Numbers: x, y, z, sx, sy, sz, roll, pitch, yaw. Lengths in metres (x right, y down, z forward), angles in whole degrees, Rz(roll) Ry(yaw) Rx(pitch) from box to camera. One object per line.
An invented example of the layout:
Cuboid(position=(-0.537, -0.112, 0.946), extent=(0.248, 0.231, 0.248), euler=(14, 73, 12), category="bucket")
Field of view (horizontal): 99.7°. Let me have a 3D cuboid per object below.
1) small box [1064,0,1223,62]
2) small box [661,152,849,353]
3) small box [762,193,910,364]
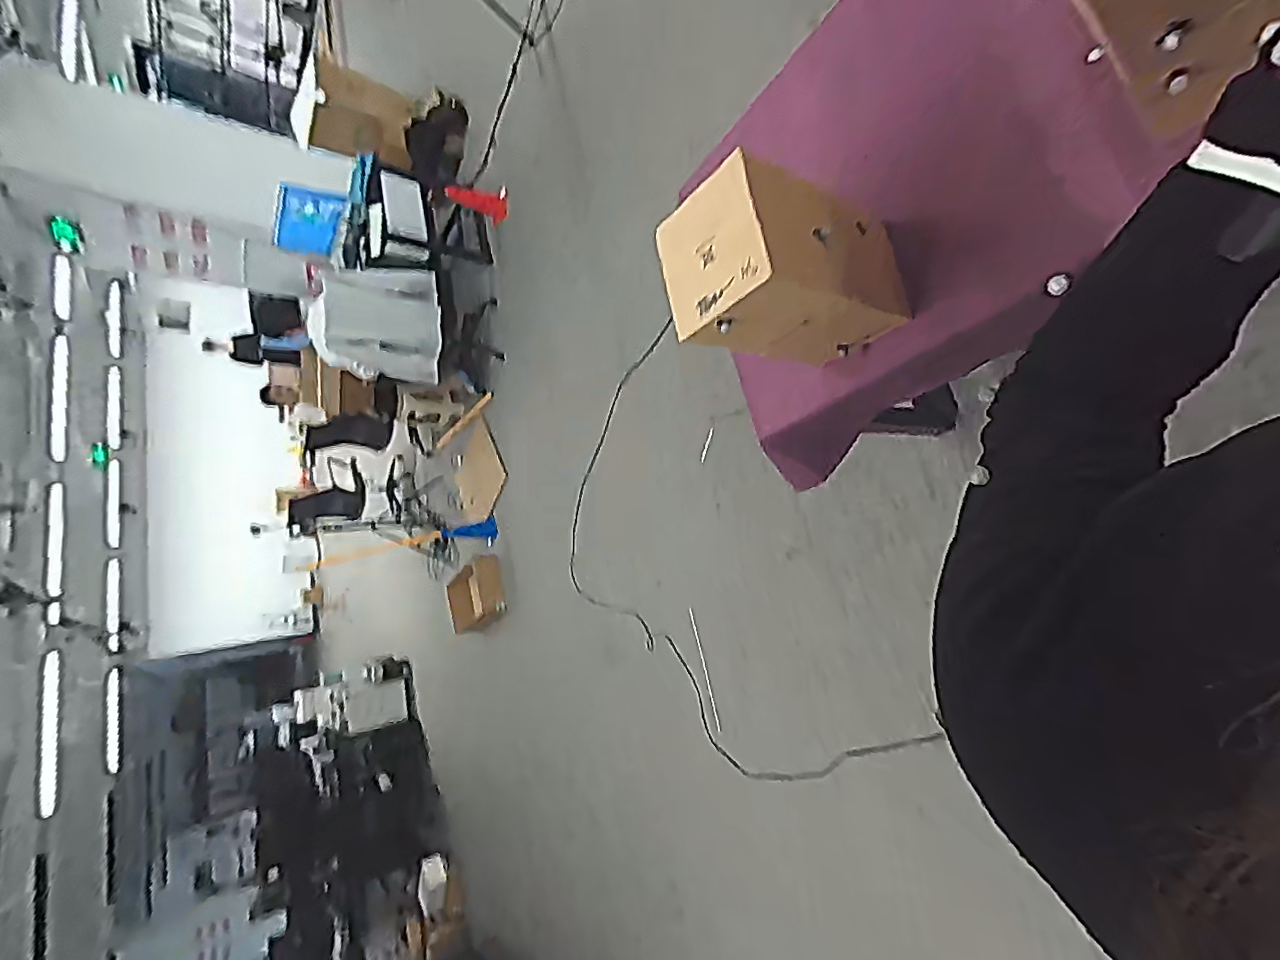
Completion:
Cuboid(position=(0.407, -0.472, 0.413), extent=(0.168, 0.176, 0.179), euler=(-33, 64, 48), category="small box")
Cuboid(position=(0.156, -0.294, 0.742), extent=(0.168, 0.176, 0.179), euler=(-26, 70, 51), category="small box")
Cuboid(position=(0.287, -0.299, 0.843), extent=(0.168, 0.176, 0.179), euler=(-25, 72, 50), category="small box")
